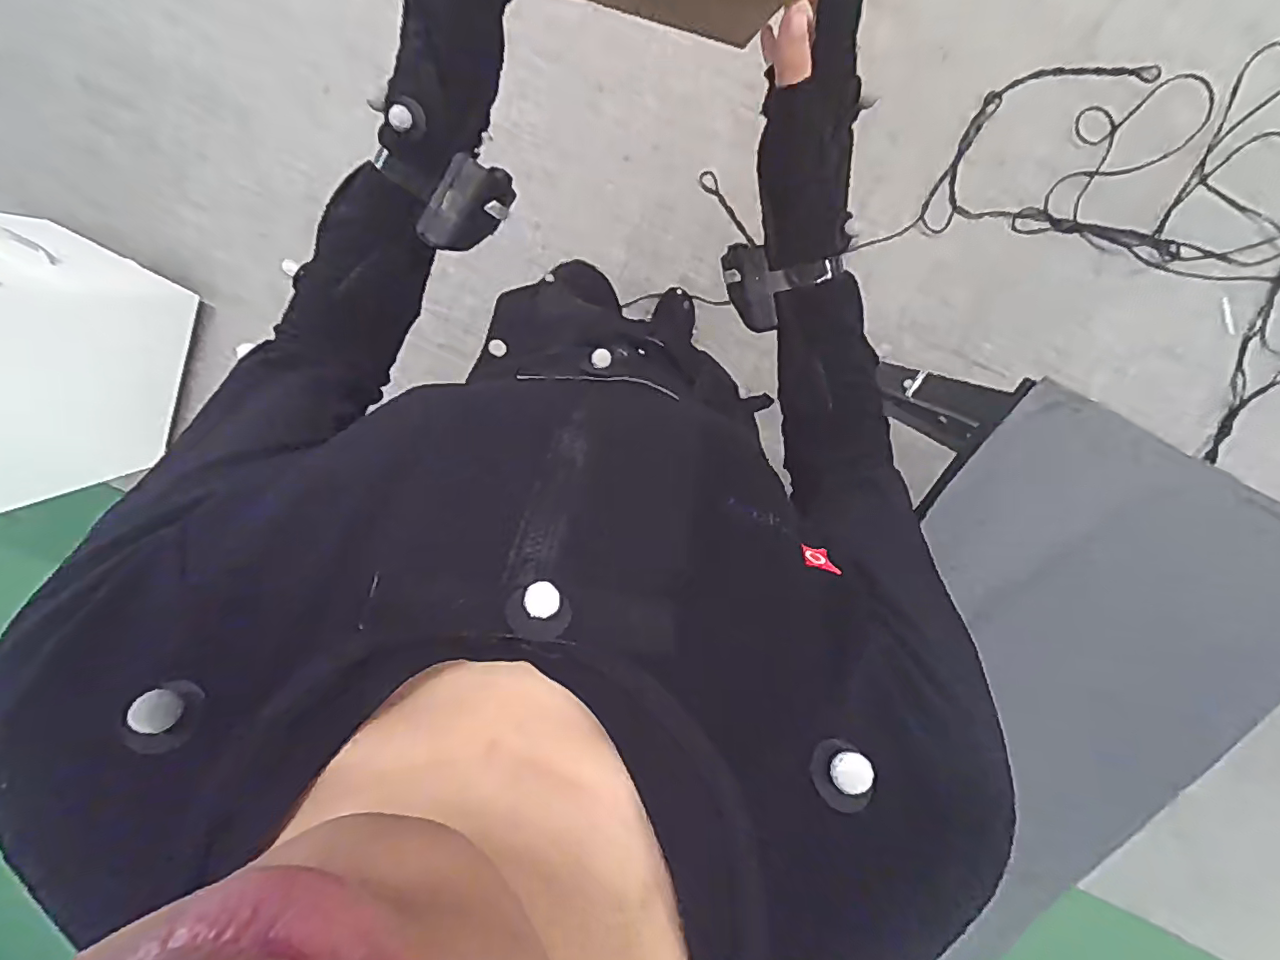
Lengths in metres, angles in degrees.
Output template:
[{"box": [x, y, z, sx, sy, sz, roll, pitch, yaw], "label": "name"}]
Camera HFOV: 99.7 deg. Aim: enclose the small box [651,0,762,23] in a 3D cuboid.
[{"box": [0.030, -0.435, 0.349, 0.179, 0.176, 0.168, 10, 118, -8], "label": "small box"}]
